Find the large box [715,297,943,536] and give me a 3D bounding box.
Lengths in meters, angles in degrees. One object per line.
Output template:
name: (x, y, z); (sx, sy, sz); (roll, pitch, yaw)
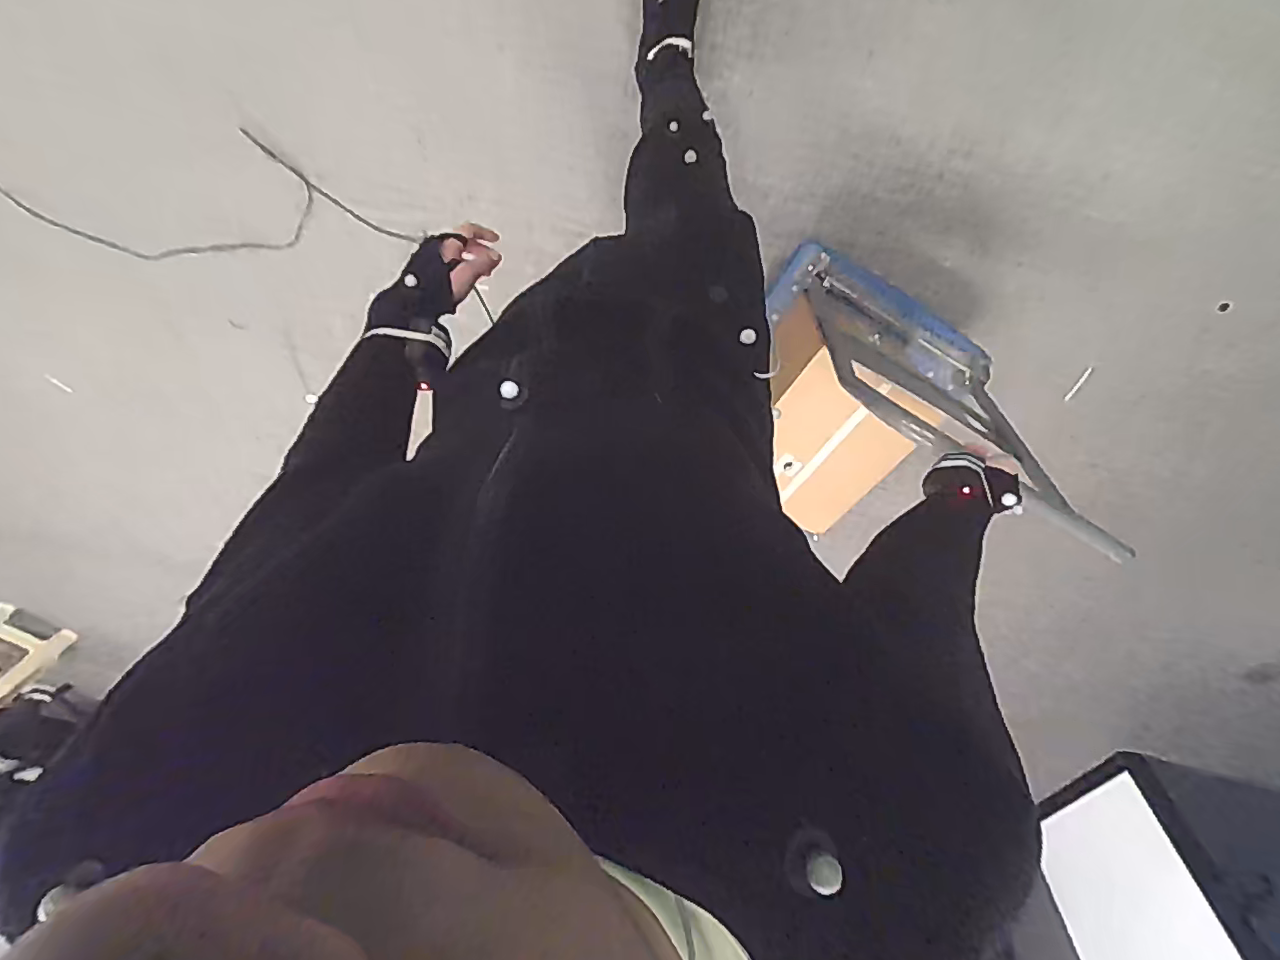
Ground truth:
large box: (0.412, -0.149, 1.291); (0.320, 0.320, 0.408); (26, 126, -12)
